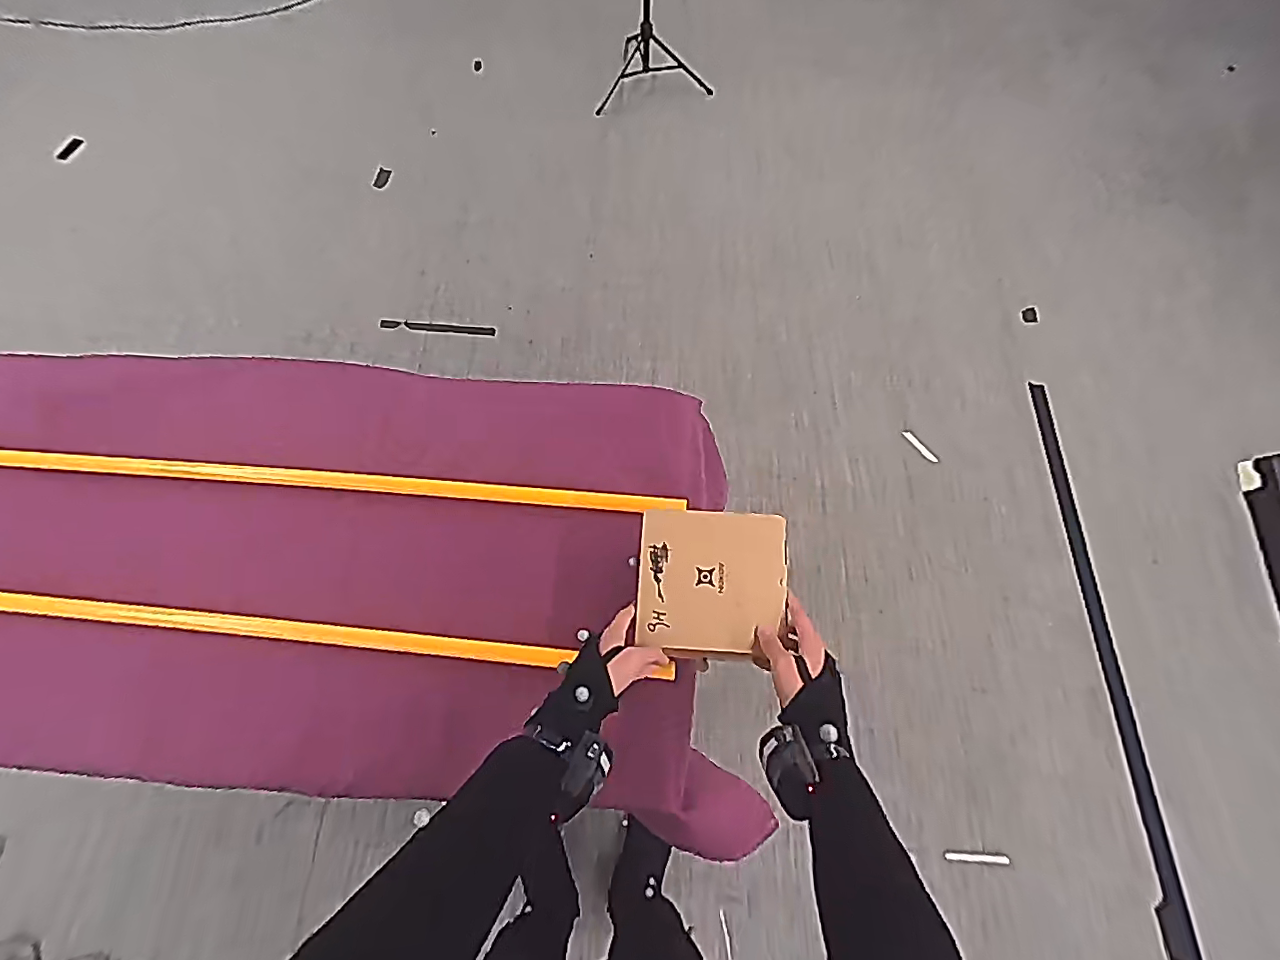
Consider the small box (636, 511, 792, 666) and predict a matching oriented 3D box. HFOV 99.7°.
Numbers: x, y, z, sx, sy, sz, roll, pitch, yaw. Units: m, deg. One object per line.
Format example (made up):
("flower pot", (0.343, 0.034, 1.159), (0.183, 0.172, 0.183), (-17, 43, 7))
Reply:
("small box", (0.090, 0.149, 0.704), (0.179, 0.176, 0.168), (4, 69, 3))
